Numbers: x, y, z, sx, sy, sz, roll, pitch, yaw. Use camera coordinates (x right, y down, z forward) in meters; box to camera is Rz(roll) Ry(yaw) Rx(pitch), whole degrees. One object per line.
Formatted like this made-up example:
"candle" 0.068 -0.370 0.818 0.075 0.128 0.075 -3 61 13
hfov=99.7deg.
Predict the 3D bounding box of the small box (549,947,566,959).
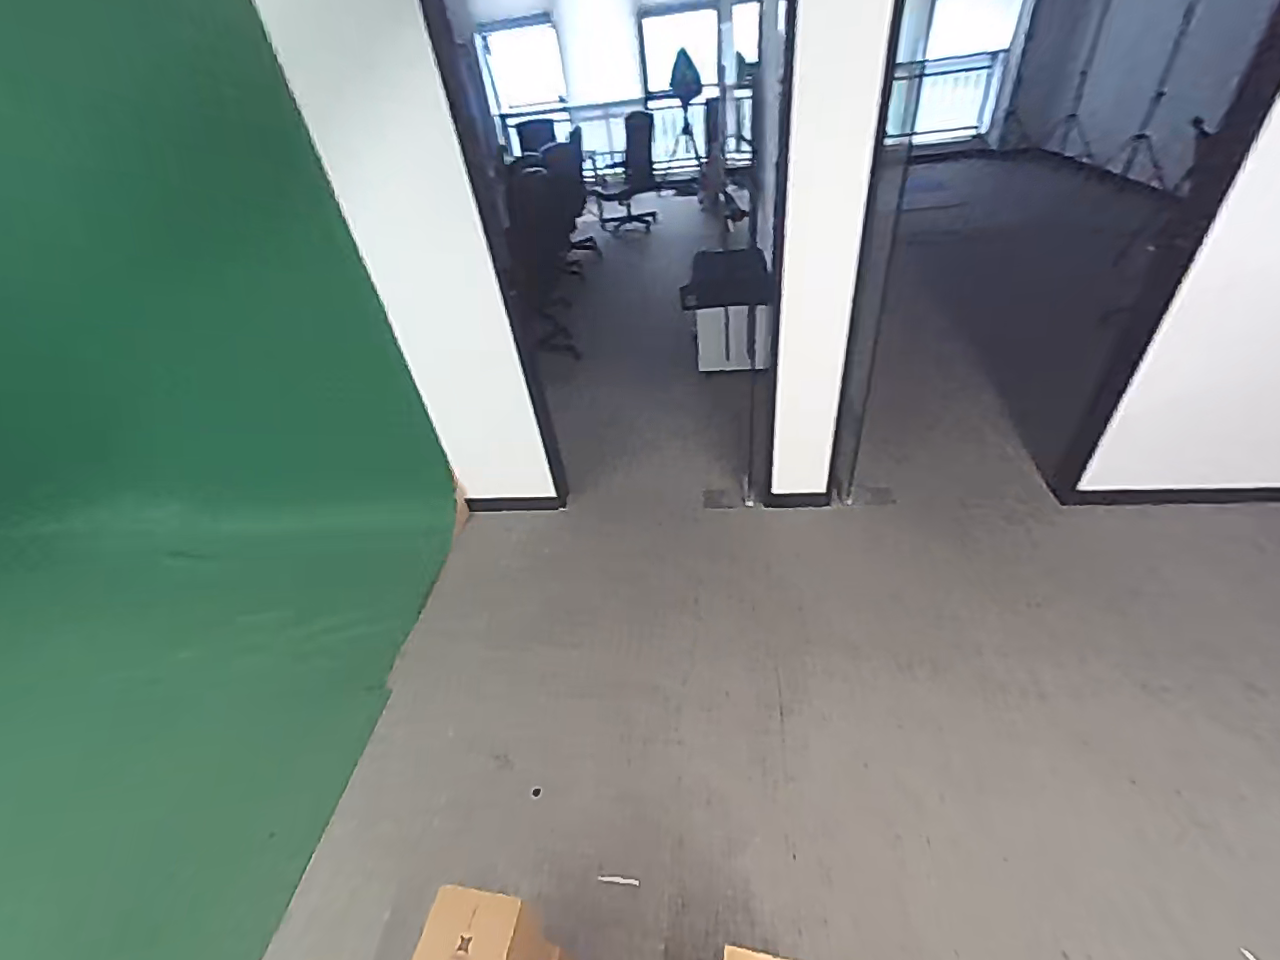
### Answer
"small box" -0.269 1.127 1.181 0.179 0.176 0.168 3 41 13

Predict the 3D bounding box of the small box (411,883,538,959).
"small box" -0.299 0.872 0.977 0.168 0.176 0.179 2 40 12

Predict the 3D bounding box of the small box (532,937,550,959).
"small box" -0.292 1.003 1.076 0.168 0.176 0.179 3 42 13
